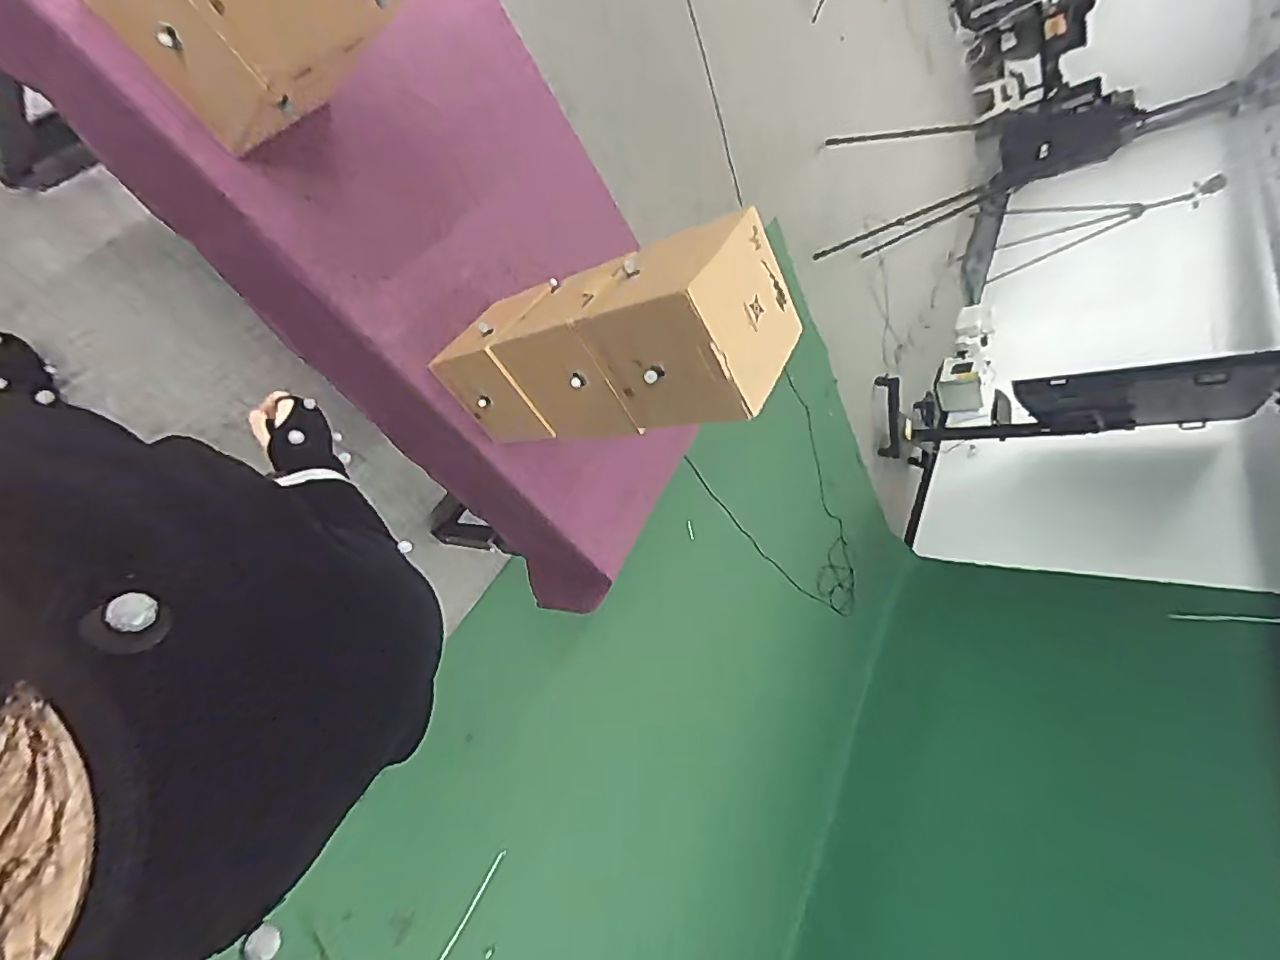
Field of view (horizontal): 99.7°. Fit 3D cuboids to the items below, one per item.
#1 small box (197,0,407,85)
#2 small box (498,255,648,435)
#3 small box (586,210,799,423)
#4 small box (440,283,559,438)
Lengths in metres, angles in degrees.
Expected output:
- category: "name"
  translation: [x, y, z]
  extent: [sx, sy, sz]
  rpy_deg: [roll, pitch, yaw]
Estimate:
- category: "small box"
  translation: [-0.314, -0.510, 0.488]
  extent: [0.168, 0.176, 0.179]
  rpy_deg: [51, 56, -34]
- category: "small box"
  translation: [-0.064, -0.177, 0.760]
  extent: [0.168, 0.176, 0.179]
  rpy_deg: [-56, 128, -30]
- category: "small box"
  translation: [0.060, -0.183, 0.652]
  extent: [0.179, 0.176, 0.168]
  rpy_deg: [-56, 128, -30]
- category: "small box"
  translation: [-0.190, -0.181, 0.866]
  extent: [0.168, 0.176, 0.179]
  rpy_deg: [55, 53, -33]
